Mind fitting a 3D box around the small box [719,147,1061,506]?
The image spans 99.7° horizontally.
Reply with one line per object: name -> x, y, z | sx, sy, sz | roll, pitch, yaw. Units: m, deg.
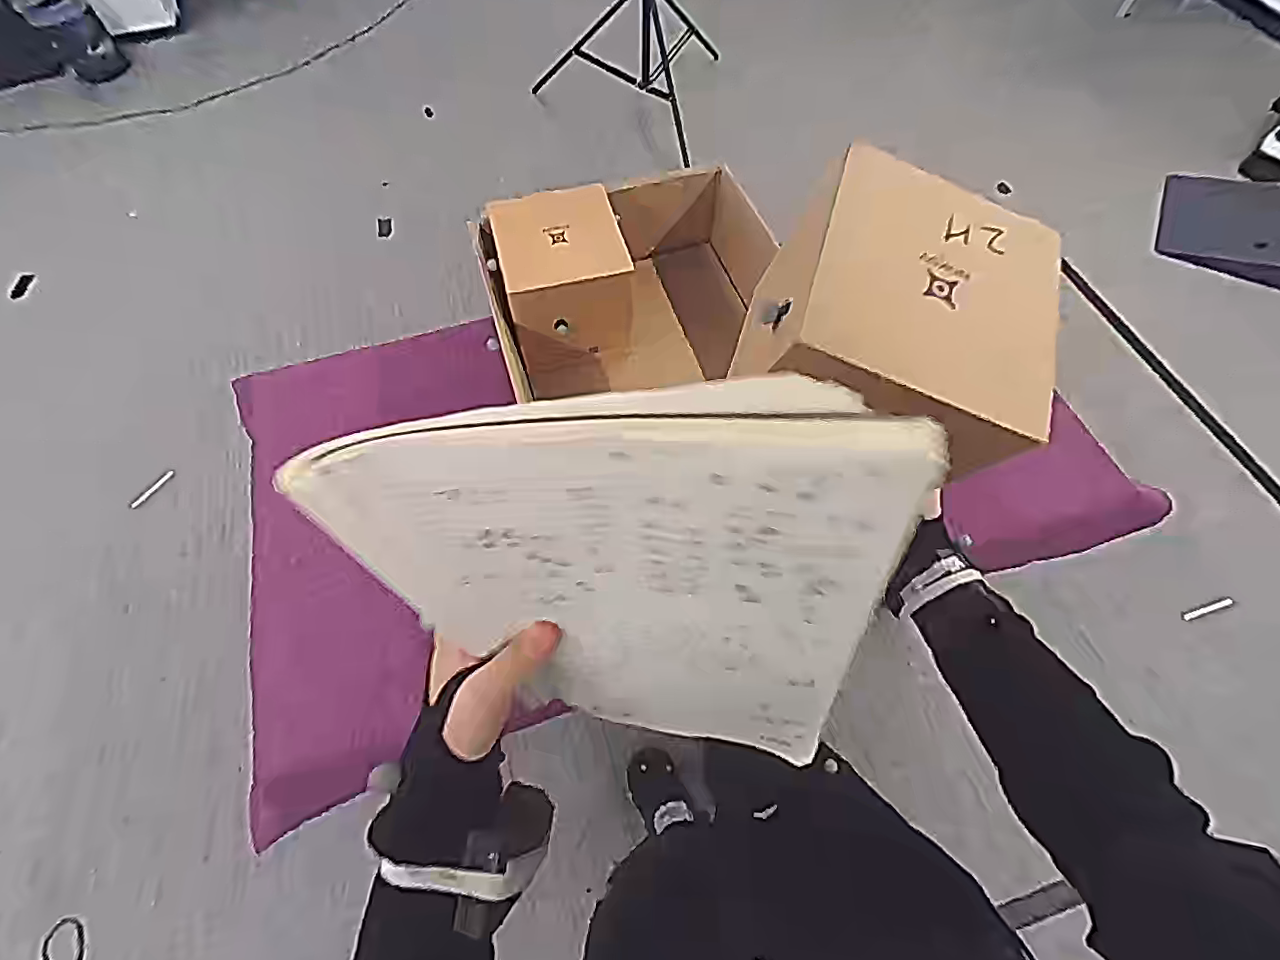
small box -> 0.174, -0.098, 0.417 | 0.168, 0.176, 0.179 | 21, 69, -4
